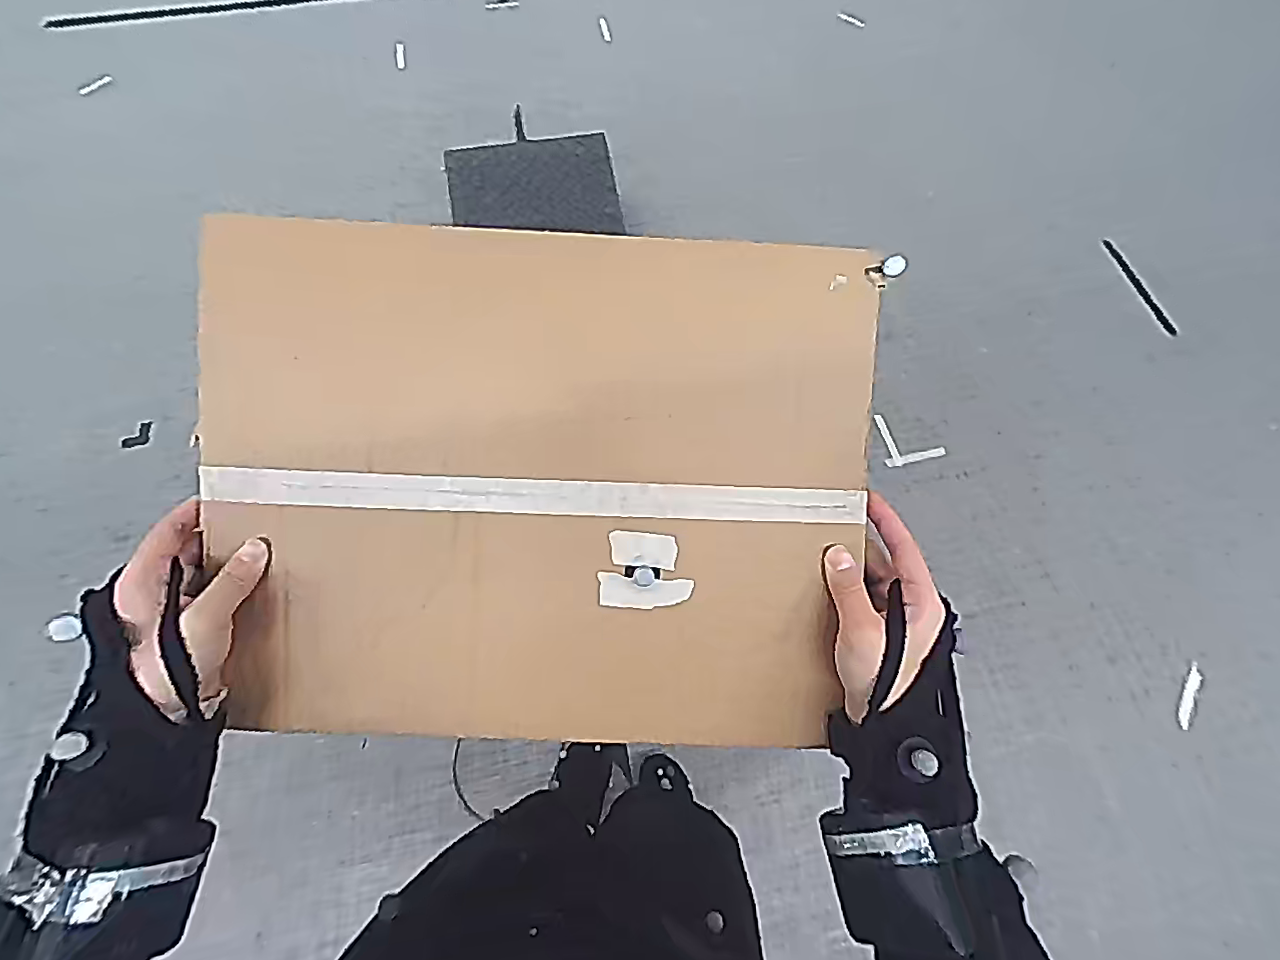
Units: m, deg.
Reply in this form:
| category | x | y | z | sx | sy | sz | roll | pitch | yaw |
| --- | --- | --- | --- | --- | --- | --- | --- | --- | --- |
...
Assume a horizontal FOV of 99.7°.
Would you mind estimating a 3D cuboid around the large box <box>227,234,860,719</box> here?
| category | x | y | z | sx | sy | sz | roll | pitch | yaw |
| --- | --- | --- | --- | --- | --- | --- | --- | --- | --- |
| large box | -0.066 | -0.004 | 0.495 | 0.408 | 0.320 | 0.320 | 2 | 94 | -2 |
